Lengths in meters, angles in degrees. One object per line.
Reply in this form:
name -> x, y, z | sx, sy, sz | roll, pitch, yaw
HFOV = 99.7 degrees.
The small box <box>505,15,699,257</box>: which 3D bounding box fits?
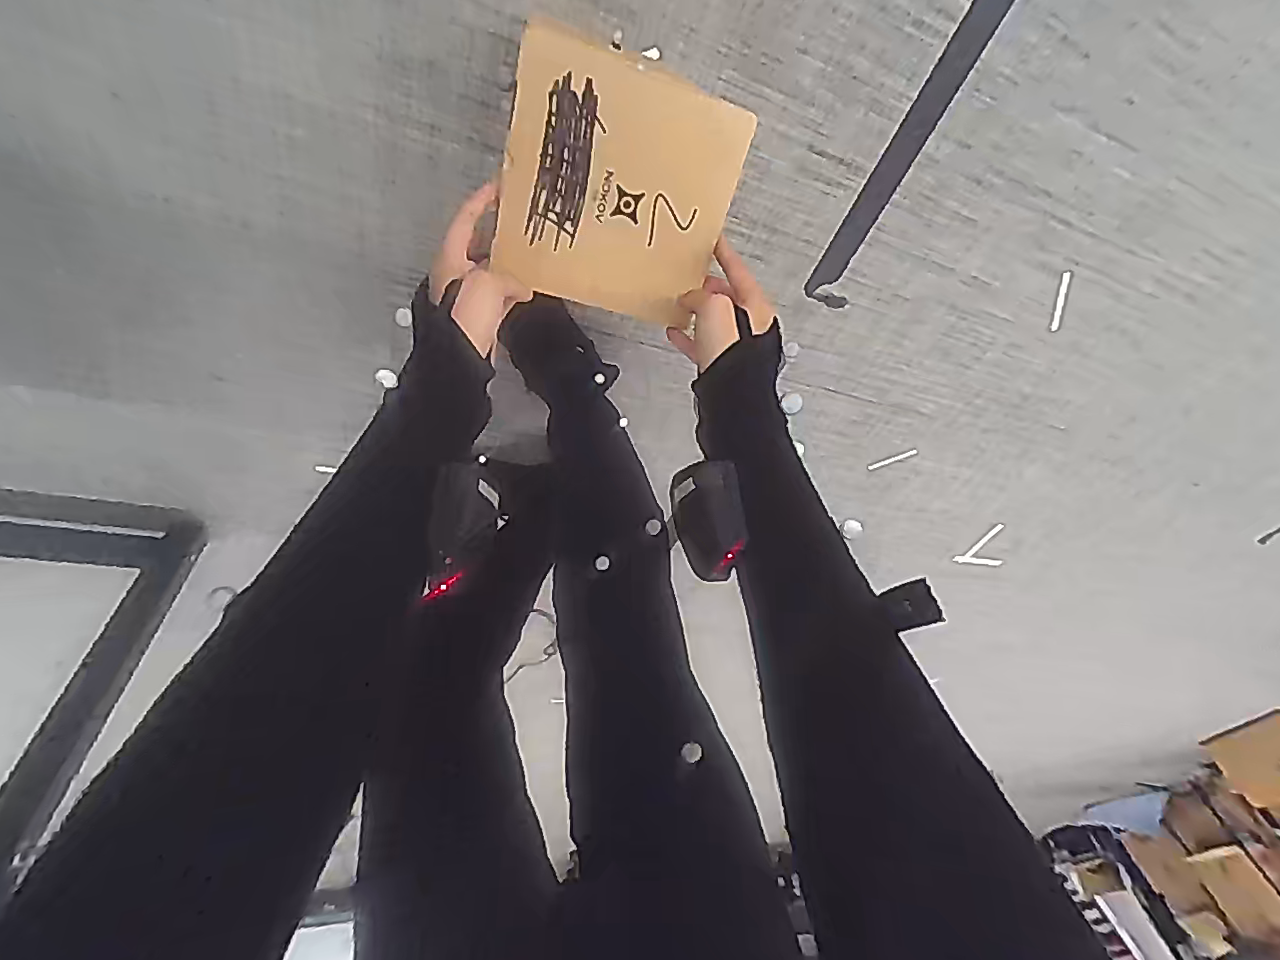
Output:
small box -> -0.055, -0.387, 0.610 | 0.168, 0.176, 0.179 | 8, 132, -18
